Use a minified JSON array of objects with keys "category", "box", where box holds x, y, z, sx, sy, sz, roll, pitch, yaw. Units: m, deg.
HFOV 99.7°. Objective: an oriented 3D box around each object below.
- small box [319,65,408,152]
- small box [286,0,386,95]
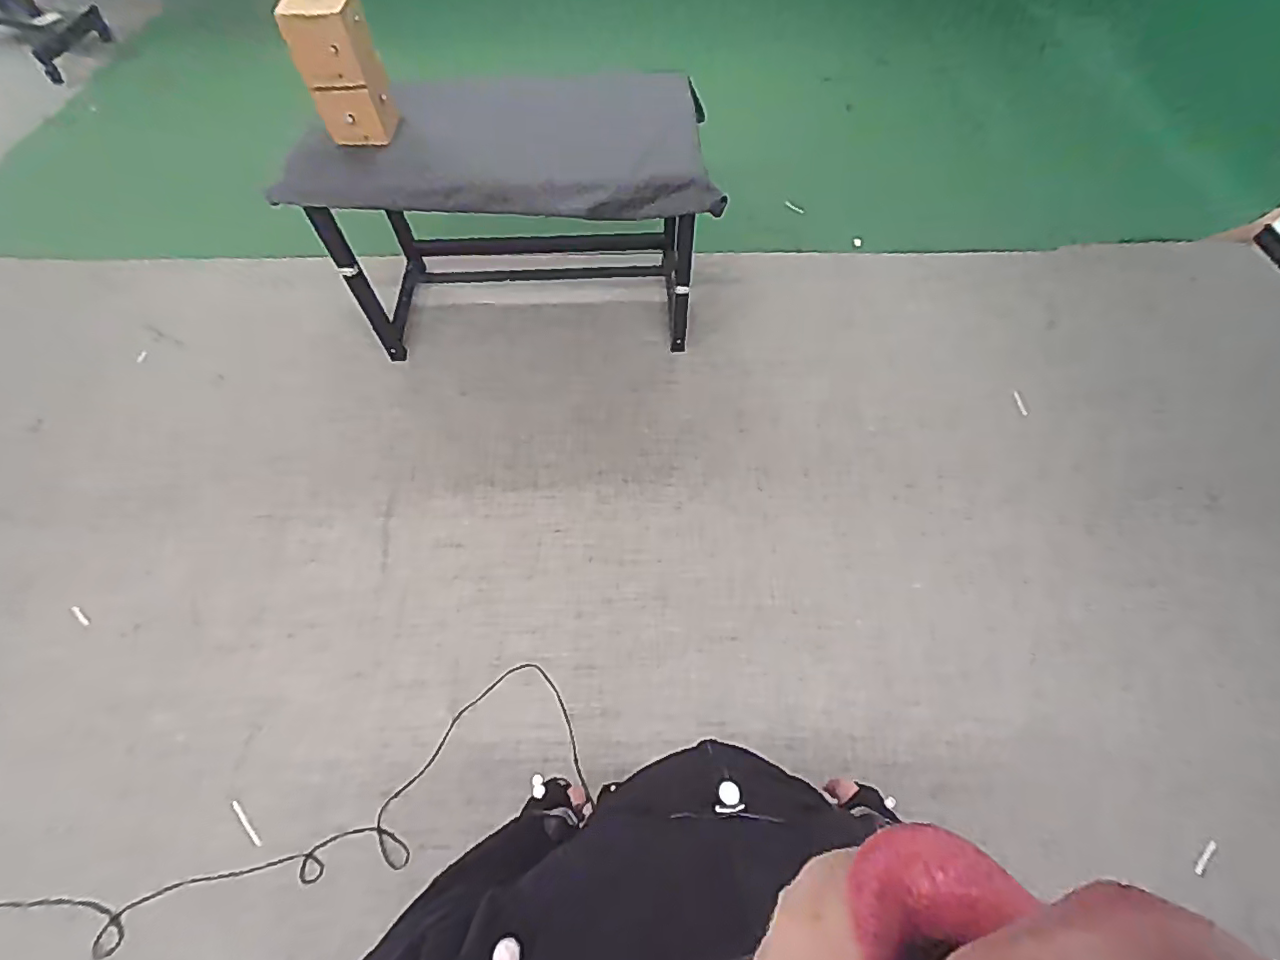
[{"category":"small box","box":[-0.827,-1.122,1.638,0.168,0.176,0.179,1,60,0]},{"category":"small box","box":[-0.826,-1.194,1.491,0.168,0.176,0.179,-1,59,-2]}]
